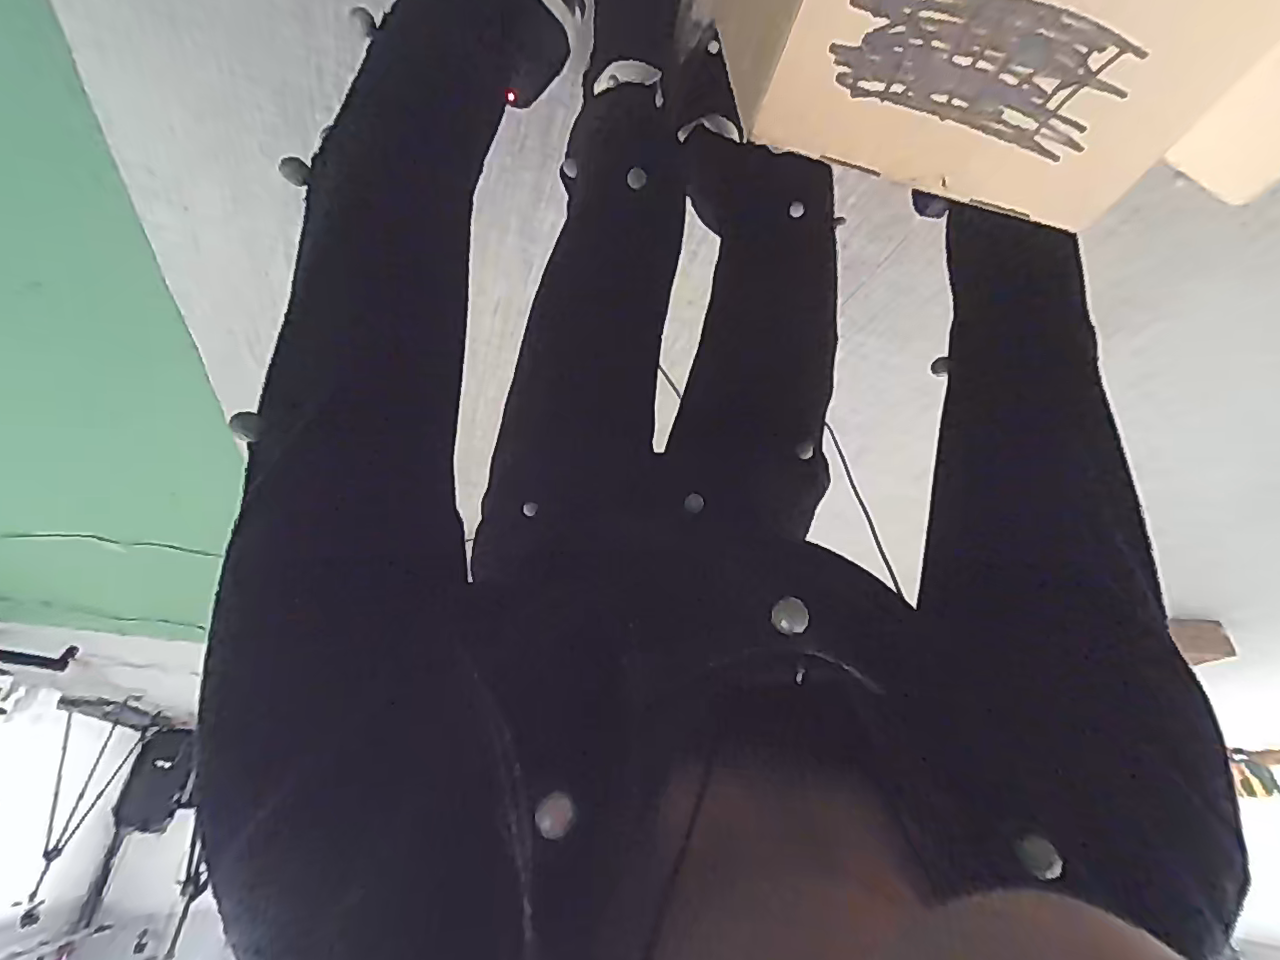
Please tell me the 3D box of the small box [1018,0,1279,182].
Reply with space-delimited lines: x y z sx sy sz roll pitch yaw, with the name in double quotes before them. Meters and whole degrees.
"small box" 0.436 -0.373 0.405 0.179 0.176 0.168 12 147 -19
